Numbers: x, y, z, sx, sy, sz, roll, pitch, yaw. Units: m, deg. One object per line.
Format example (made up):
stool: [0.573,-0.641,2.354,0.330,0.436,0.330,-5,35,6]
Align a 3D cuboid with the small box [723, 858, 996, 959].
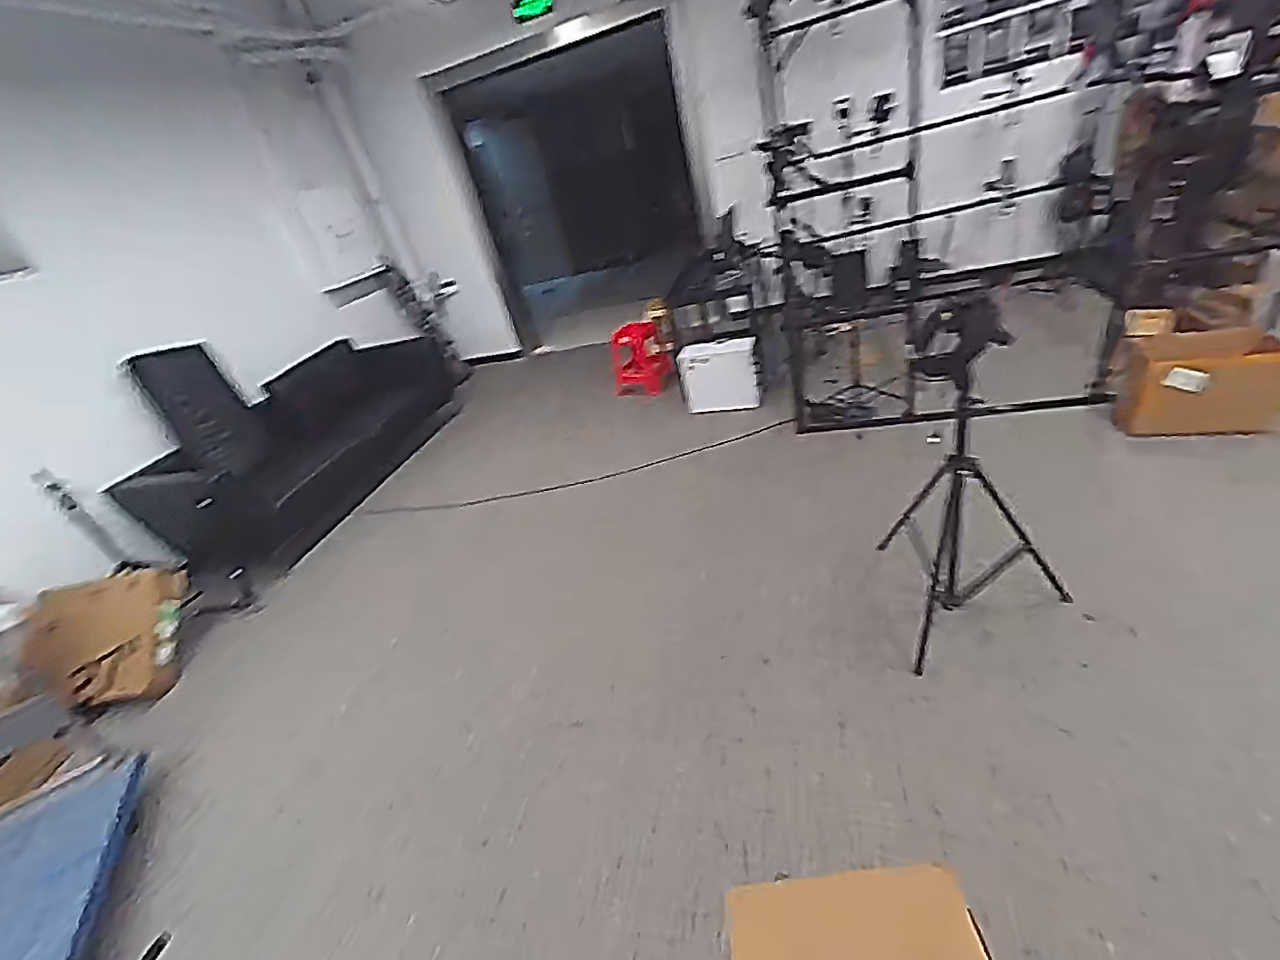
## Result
small box: [0.170,0.408,0.389,0.179,0.176,0.168,-13,35,6]
